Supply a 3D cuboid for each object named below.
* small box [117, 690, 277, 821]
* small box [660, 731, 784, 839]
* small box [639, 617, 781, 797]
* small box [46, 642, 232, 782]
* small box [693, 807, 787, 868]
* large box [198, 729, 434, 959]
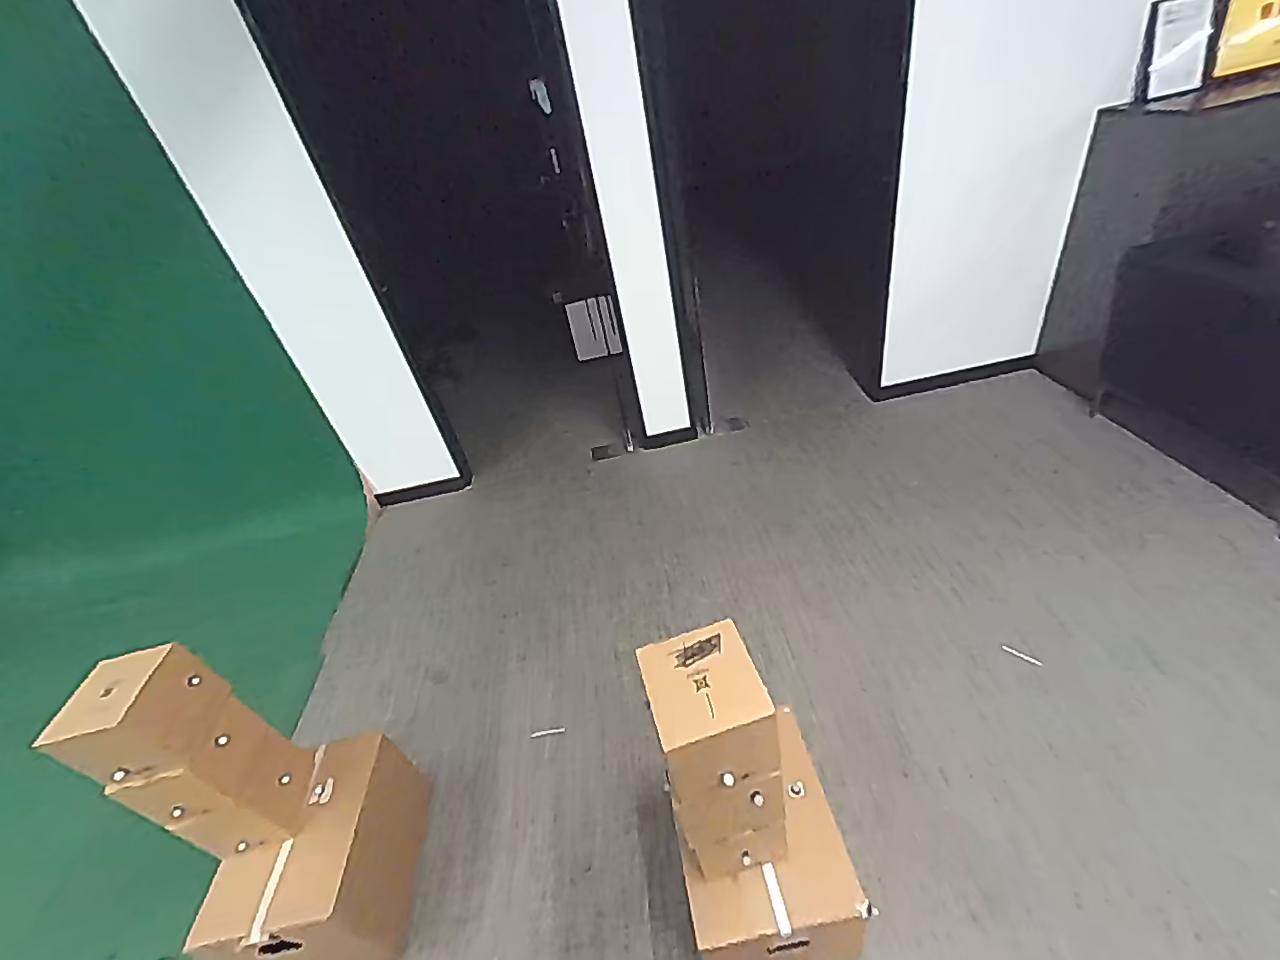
[{"bbox_3d":[-0.920,0.584,1.148,0.168,0.176,0.179,-16,37,2],"label":"small box"},{"bbox_3d":[0.140,0.487,0.941,0.179,0.176,0.168,-16,35,-1],"label":"small box"},{"bbox_3d":[0.109,0.354,0.849,0.168,0.176,0.179,-18,37,-4],"label":"small box"},{"bbox_3d":[-0.954,0.453,1.057,0.168,0.176,0.179,-15,37,4],"label":"small box"},{"bbox_3d":[0.175,0.614,1.042,0.168,0.176,0.179,-16,37,-1],"label":"small box"},{"bbox_3d":[-0.750,0.917,1.340,0.320,0.320,0.408,-13,35,1],"label":"large box"}]
